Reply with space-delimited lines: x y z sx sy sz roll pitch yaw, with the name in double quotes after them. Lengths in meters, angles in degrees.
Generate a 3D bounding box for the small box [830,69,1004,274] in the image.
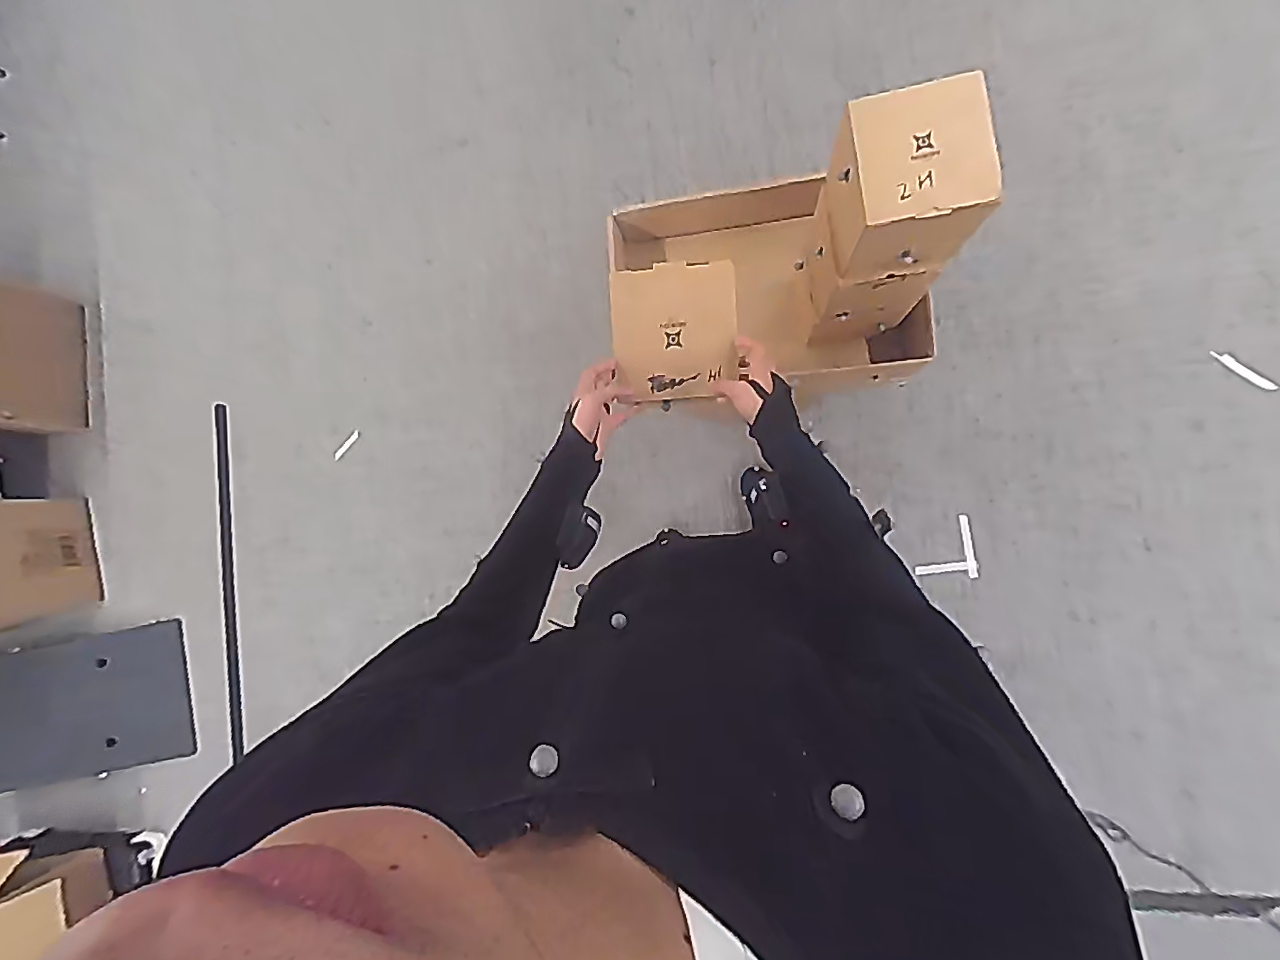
0.376 -0.420 0.765 0.168 0.176 0.179 -7 87 10 "small box"

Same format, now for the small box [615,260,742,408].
0.059 -0.202 0.793 0.168 0.176 0.179 -3 95 7 "small box"

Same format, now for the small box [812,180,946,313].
0.398 -0.401 0.928 0.168 0.176 0.179 -7 86 10 "small box"
